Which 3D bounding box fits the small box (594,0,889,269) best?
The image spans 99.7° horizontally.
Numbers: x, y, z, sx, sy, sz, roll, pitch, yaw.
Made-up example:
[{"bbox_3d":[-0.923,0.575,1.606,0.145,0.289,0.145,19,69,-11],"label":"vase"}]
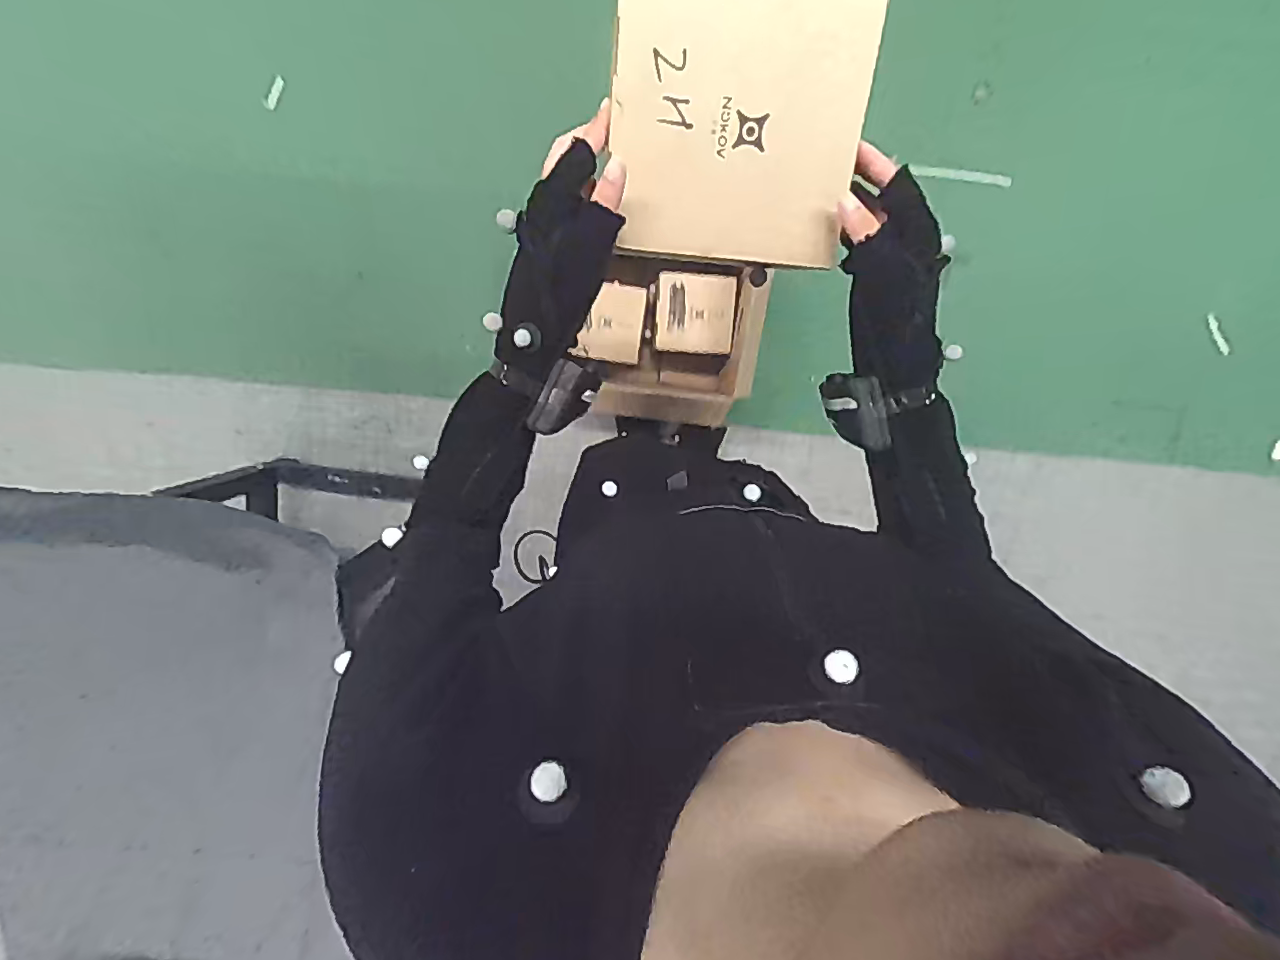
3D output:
[{"bbox_3d":[0.056,-0.265,0.428,0.179,0.176,0.168,4,111,-5],"label":"small box"}]
